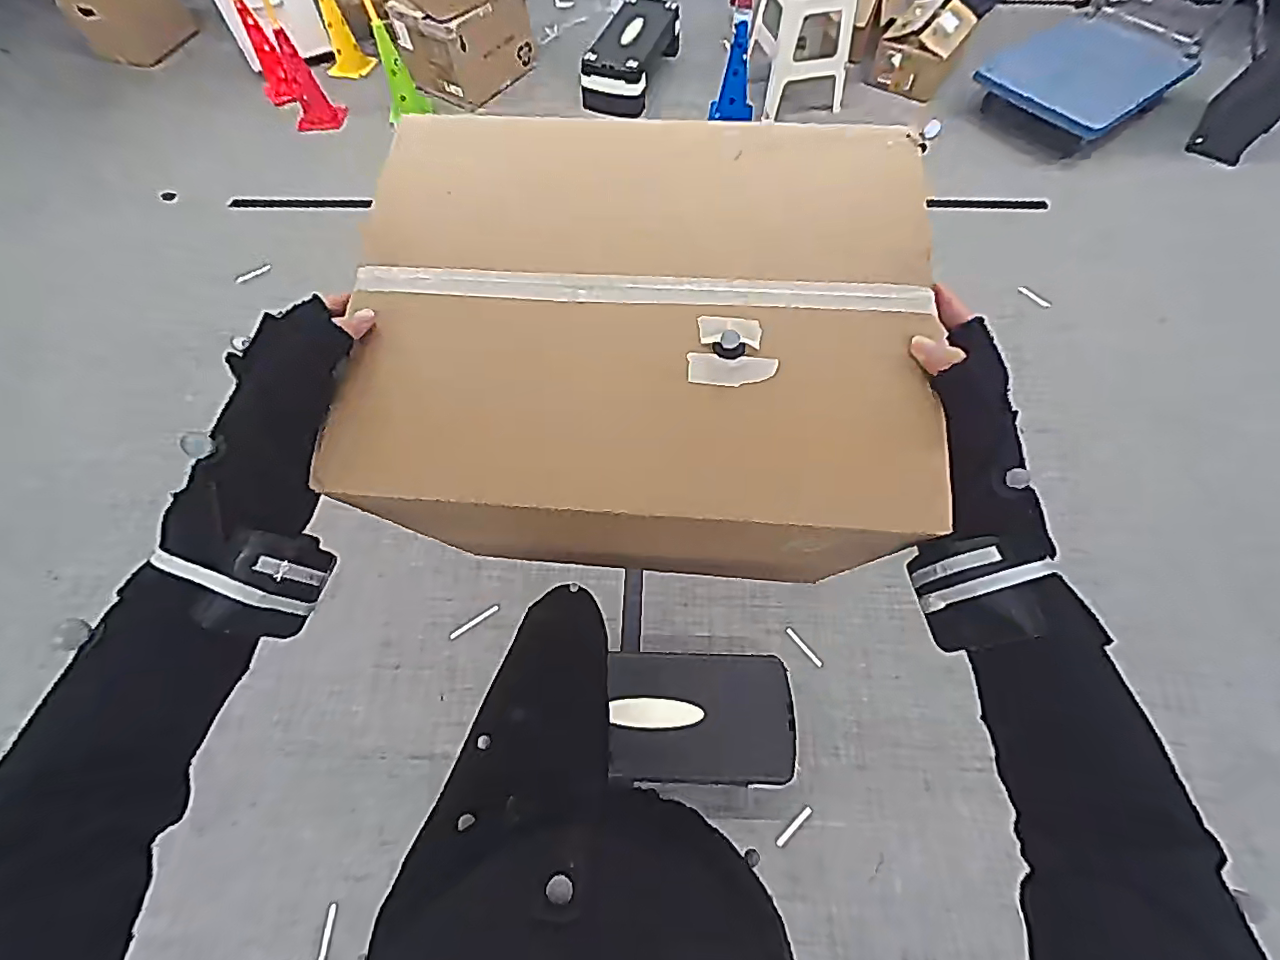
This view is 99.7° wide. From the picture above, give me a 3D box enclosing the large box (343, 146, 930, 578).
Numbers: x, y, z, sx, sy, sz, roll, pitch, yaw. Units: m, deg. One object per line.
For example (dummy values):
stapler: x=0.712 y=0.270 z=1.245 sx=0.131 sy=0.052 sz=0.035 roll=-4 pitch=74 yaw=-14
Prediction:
large box: x=0.006 y=-0.084 z=0.545 sx=0.408 sy=0.320 sz=0.320 roll=4 pitch=74 yaw=4
